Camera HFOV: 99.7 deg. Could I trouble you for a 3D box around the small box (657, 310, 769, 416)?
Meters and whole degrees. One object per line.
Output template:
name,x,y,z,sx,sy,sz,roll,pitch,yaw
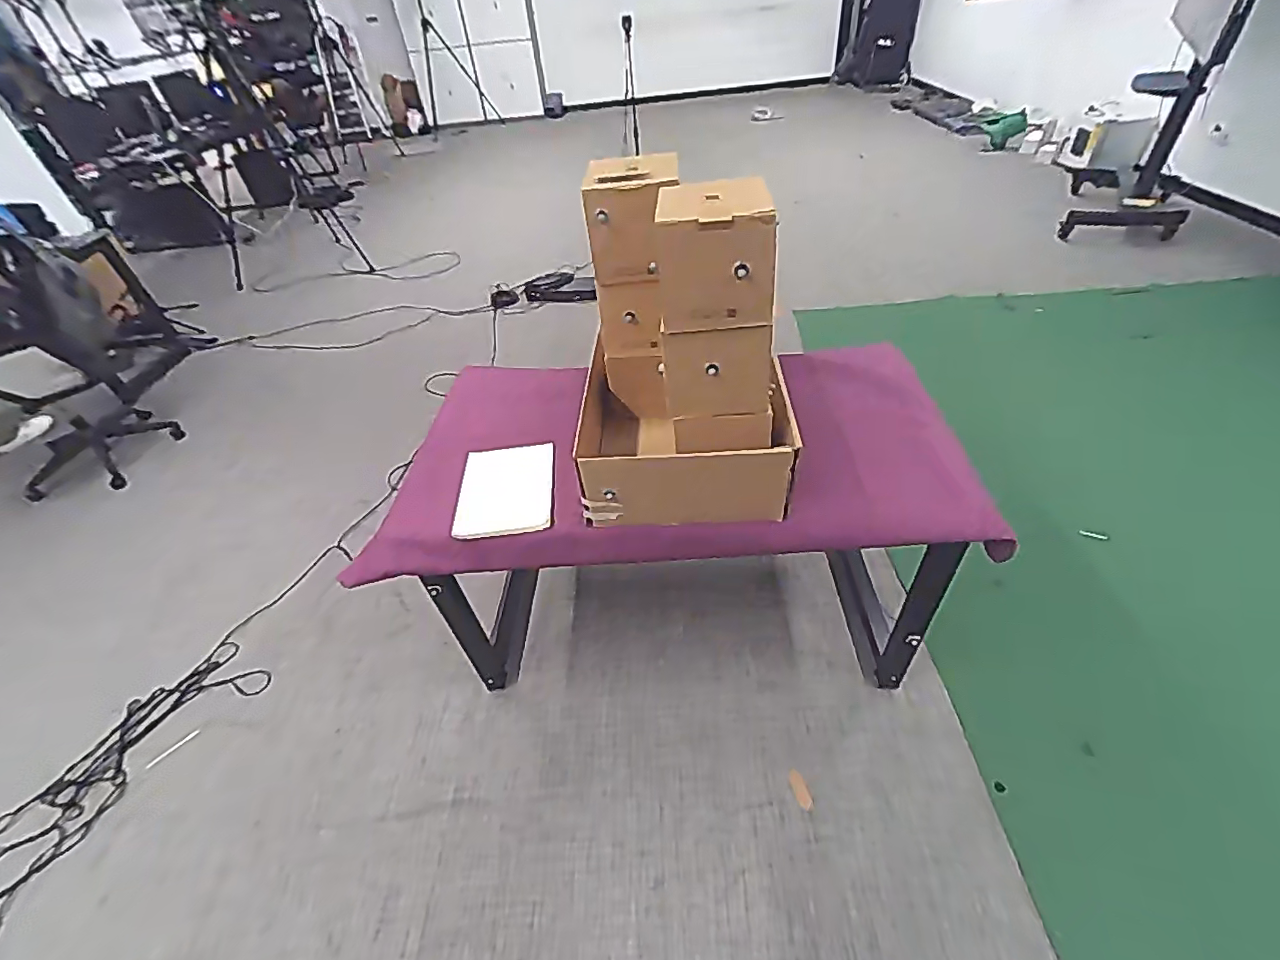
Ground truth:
small box,0.128,-0.229,0.951,0.179,0.176,0.168,-3,42,8

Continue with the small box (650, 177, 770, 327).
small box,0.111,-0.349,0.841,0.168,0.176,0.179,-2,41,7
